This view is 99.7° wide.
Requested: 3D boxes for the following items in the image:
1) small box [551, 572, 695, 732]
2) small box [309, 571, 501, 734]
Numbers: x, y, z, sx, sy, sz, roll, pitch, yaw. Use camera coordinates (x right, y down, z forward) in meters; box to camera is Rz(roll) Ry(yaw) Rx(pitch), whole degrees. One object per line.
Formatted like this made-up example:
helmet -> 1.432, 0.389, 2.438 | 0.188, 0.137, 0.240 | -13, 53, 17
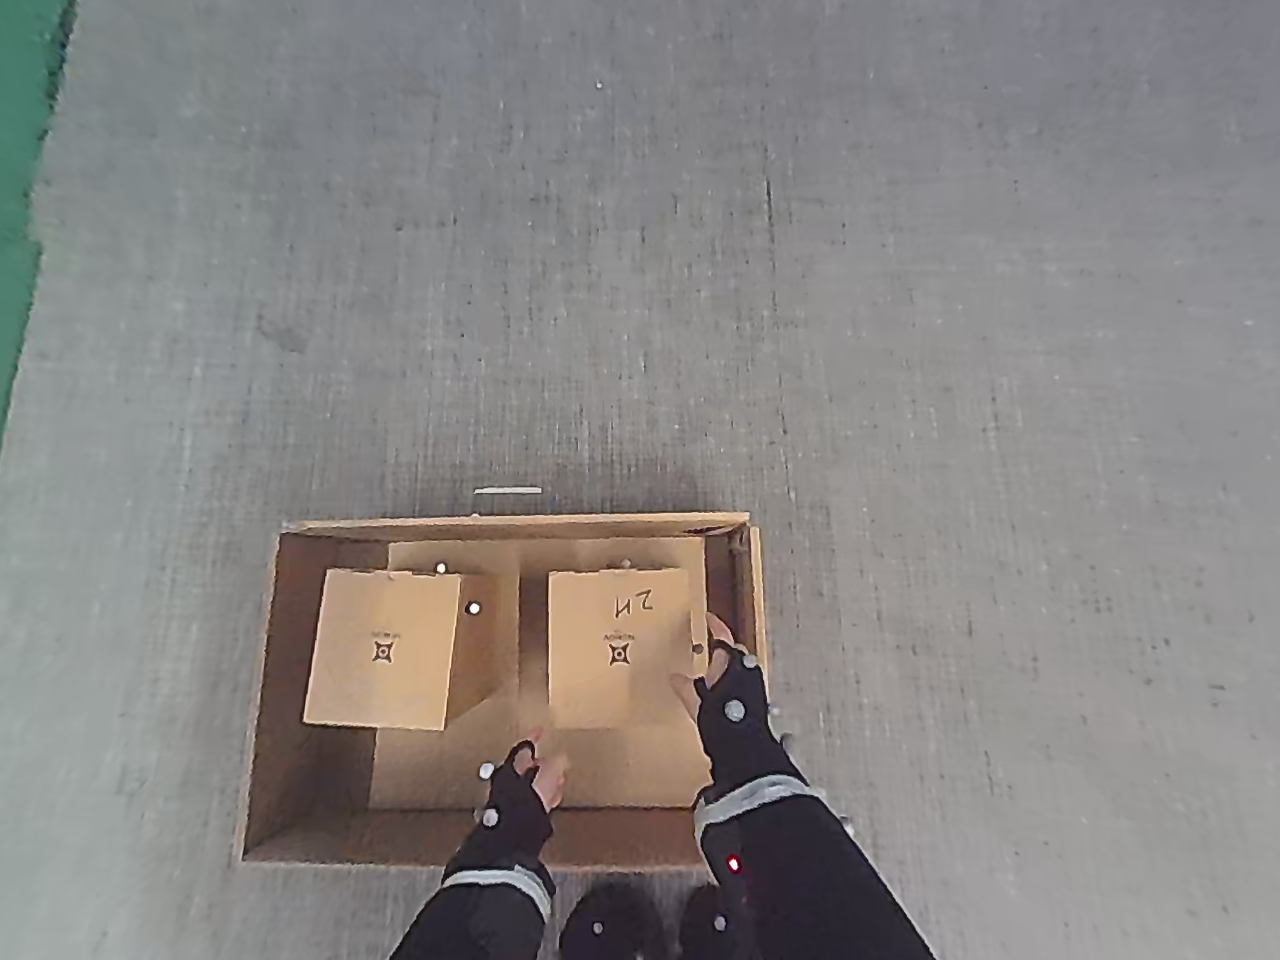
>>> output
small box -> -0.016, 0.208, 0.694 | 0.168, 0.176, 0.179 | -2, 79, 2
small box -> -0.290, 0.213, 0.707 | 0.168, 0.176, 0.179 | 3, 78, 2
